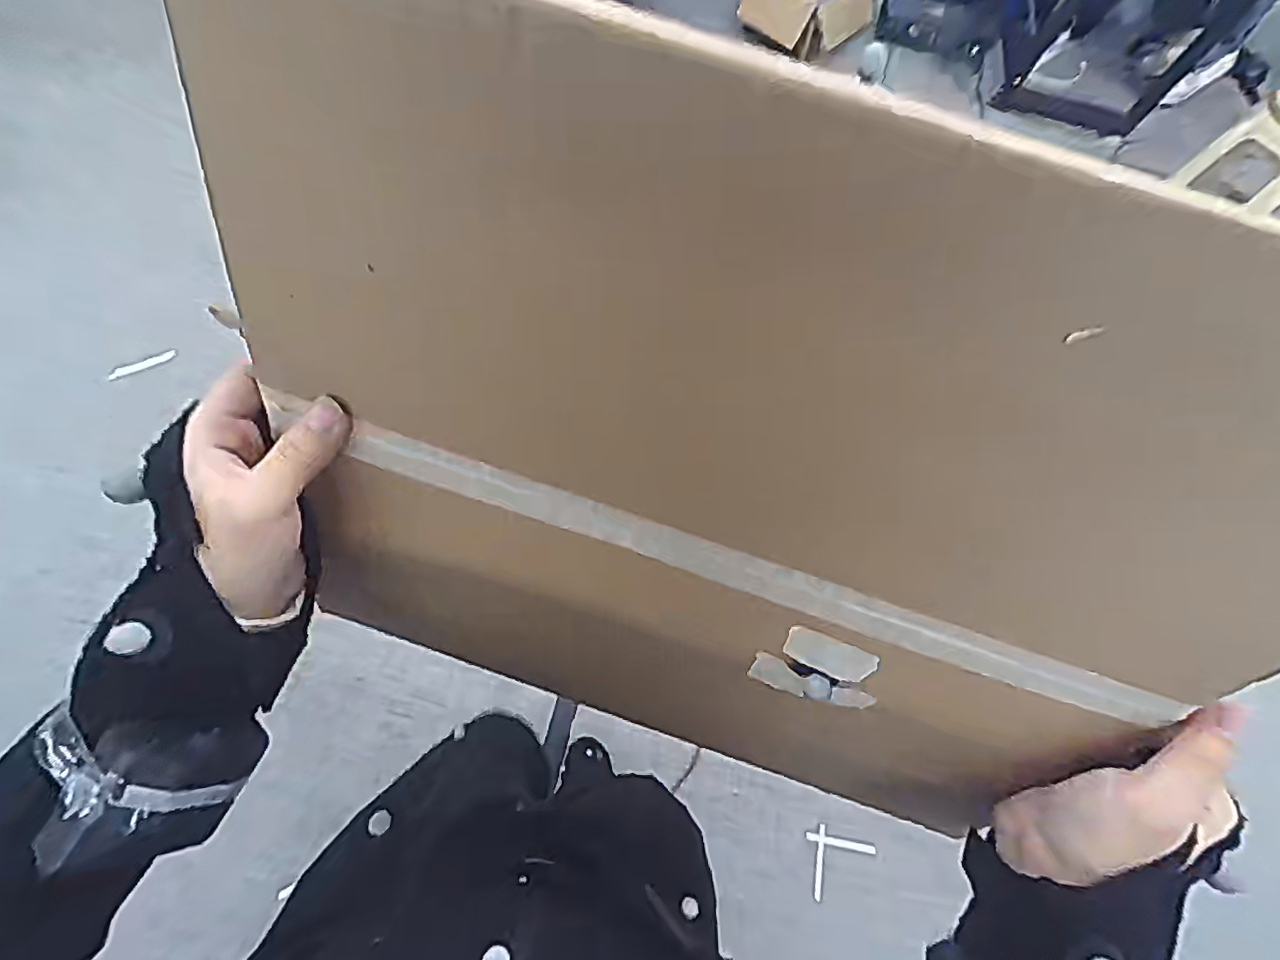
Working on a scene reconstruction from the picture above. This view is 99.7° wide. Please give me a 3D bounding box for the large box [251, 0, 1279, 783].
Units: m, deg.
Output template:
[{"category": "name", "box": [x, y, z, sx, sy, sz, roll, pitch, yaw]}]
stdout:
[{"category": "large box", "box": [0.076, -0.084, 0.344, 0.408, 0.320, 0.320, 18, 39, 1]}]
